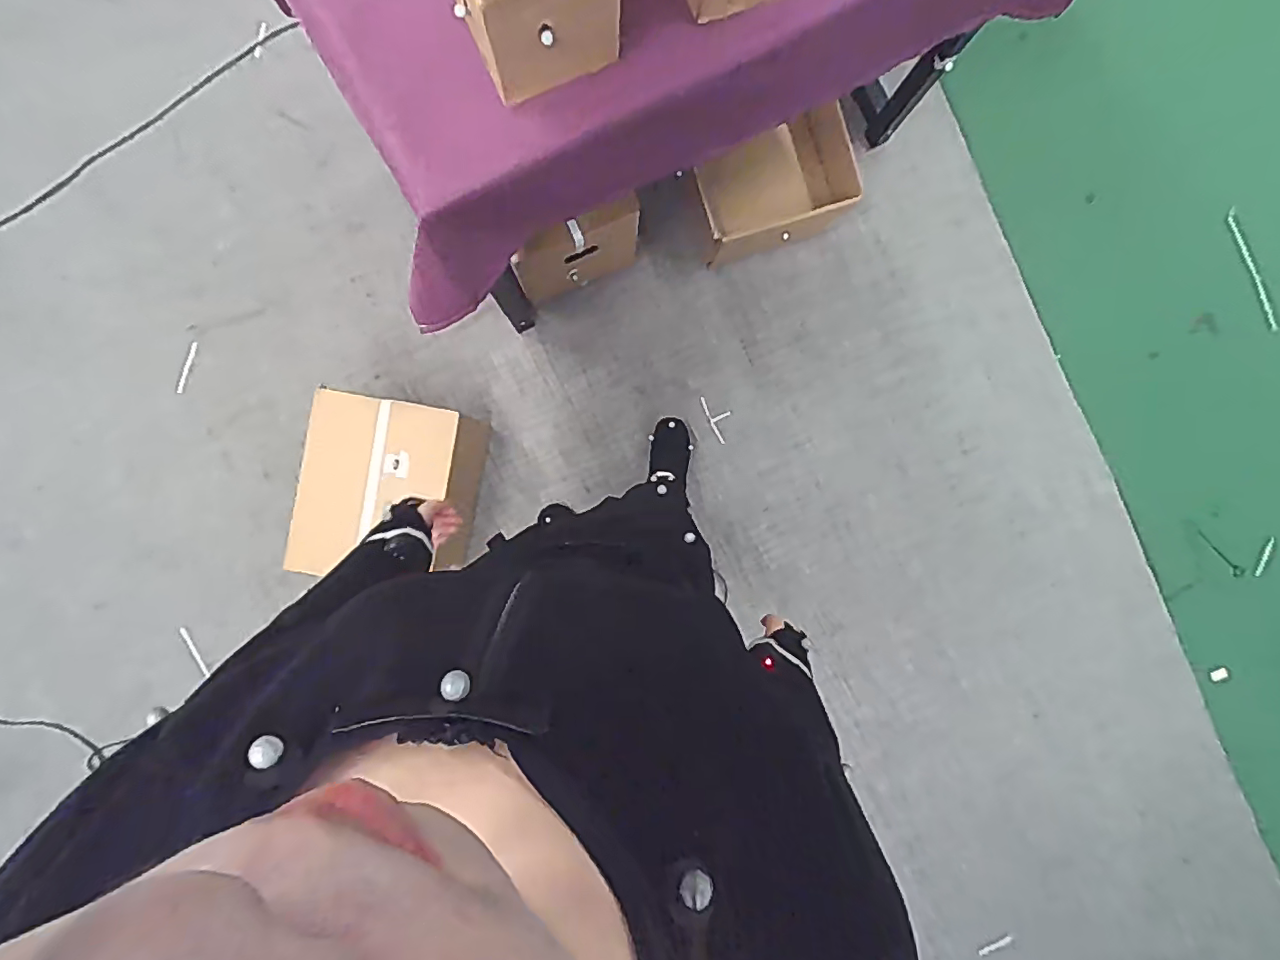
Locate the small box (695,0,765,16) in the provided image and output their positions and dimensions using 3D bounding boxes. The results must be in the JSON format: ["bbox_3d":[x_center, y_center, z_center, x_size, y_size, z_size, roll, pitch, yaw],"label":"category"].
[{"bbox_3d":[0.138,-0.756,0.684,0.168,0.176,0.179,-20,93,-2],"label":"small box"}]

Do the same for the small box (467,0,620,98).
[{"bbox_3d":[-0.131,-0.627,0.671,0.179,0.176,0.168,-24,93,-2],"label":"small box"}]

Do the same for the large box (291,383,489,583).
[{"bbox_3d":[-0.583,0.009,1.324,0.320,0.320,0.408,10,90,-4],"label":"large box"}]
